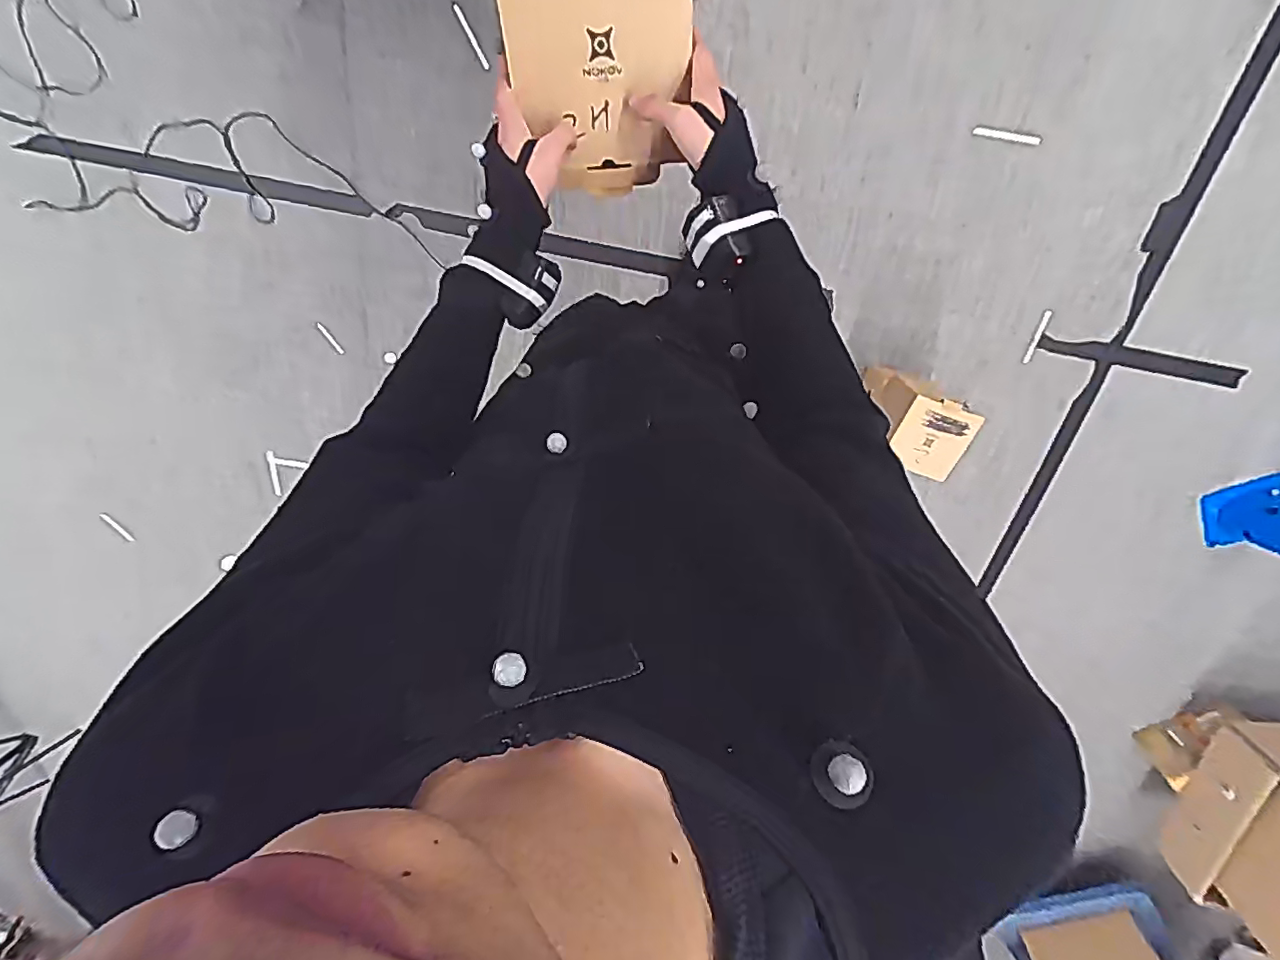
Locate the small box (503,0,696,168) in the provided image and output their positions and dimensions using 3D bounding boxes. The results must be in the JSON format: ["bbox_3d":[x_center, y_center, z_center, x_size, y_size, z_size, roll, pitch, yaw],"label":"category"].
[{"bbox_3d":[-0.041,-0.427,0.535,0.168,0.176,0.179,-5,131,-2],"label":"small box"}]

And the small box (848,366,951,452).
[{"bbox_3d":[0.688,-0.198,1.459,0.179,0.176,0.168,14,117,0],"label":"small box"}]
